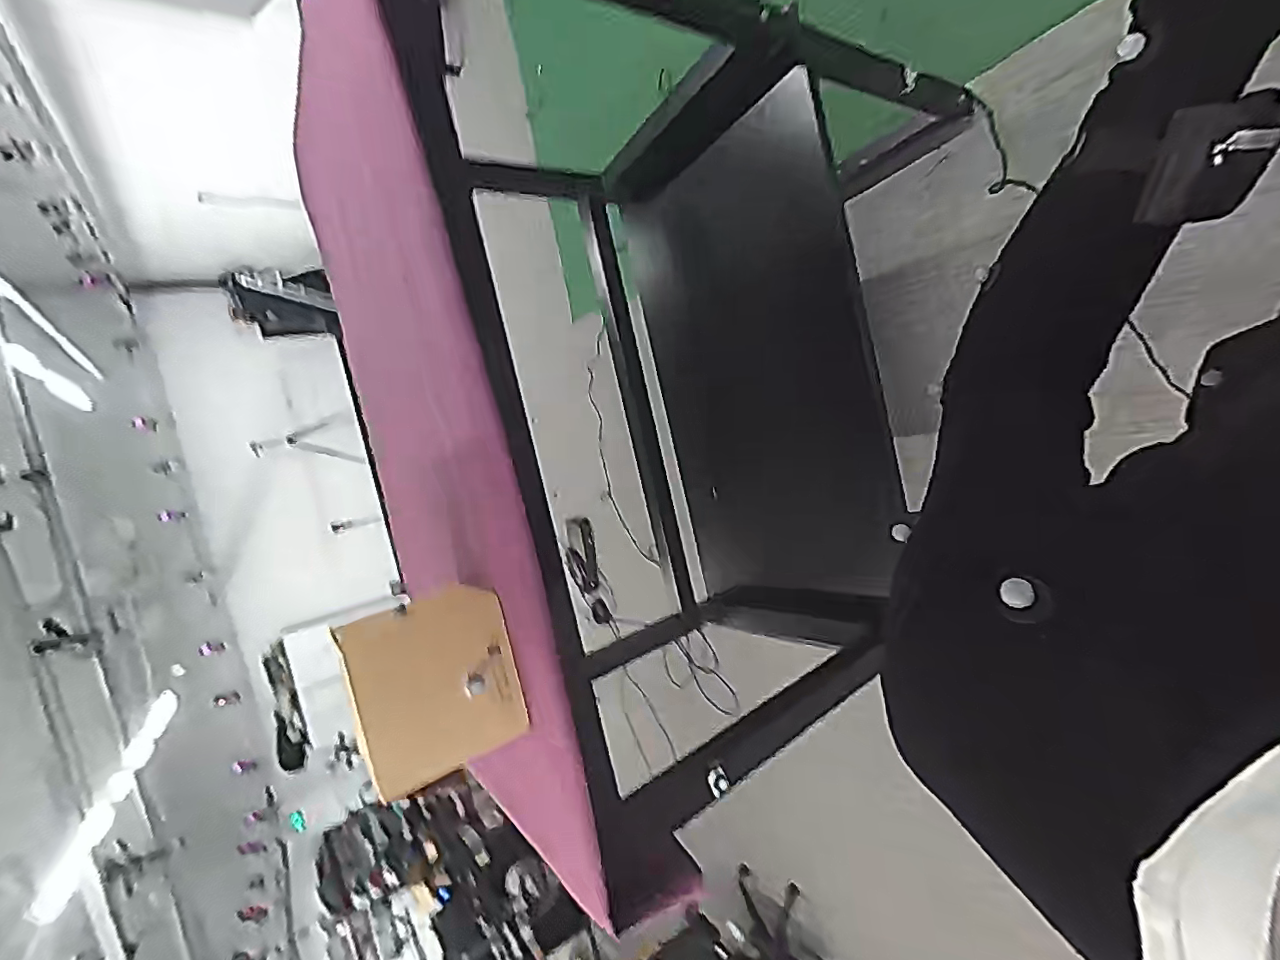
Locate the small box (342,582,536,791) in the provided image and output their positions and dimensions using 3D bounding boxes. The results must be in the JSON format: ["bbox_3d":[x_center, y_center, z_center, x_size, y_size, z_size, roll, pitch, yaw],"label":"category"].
[{"bbox_3d":[-0.247,0.232,0.663,0.179,0.176,0.168,-11,94,56],"label":"small box"}]
